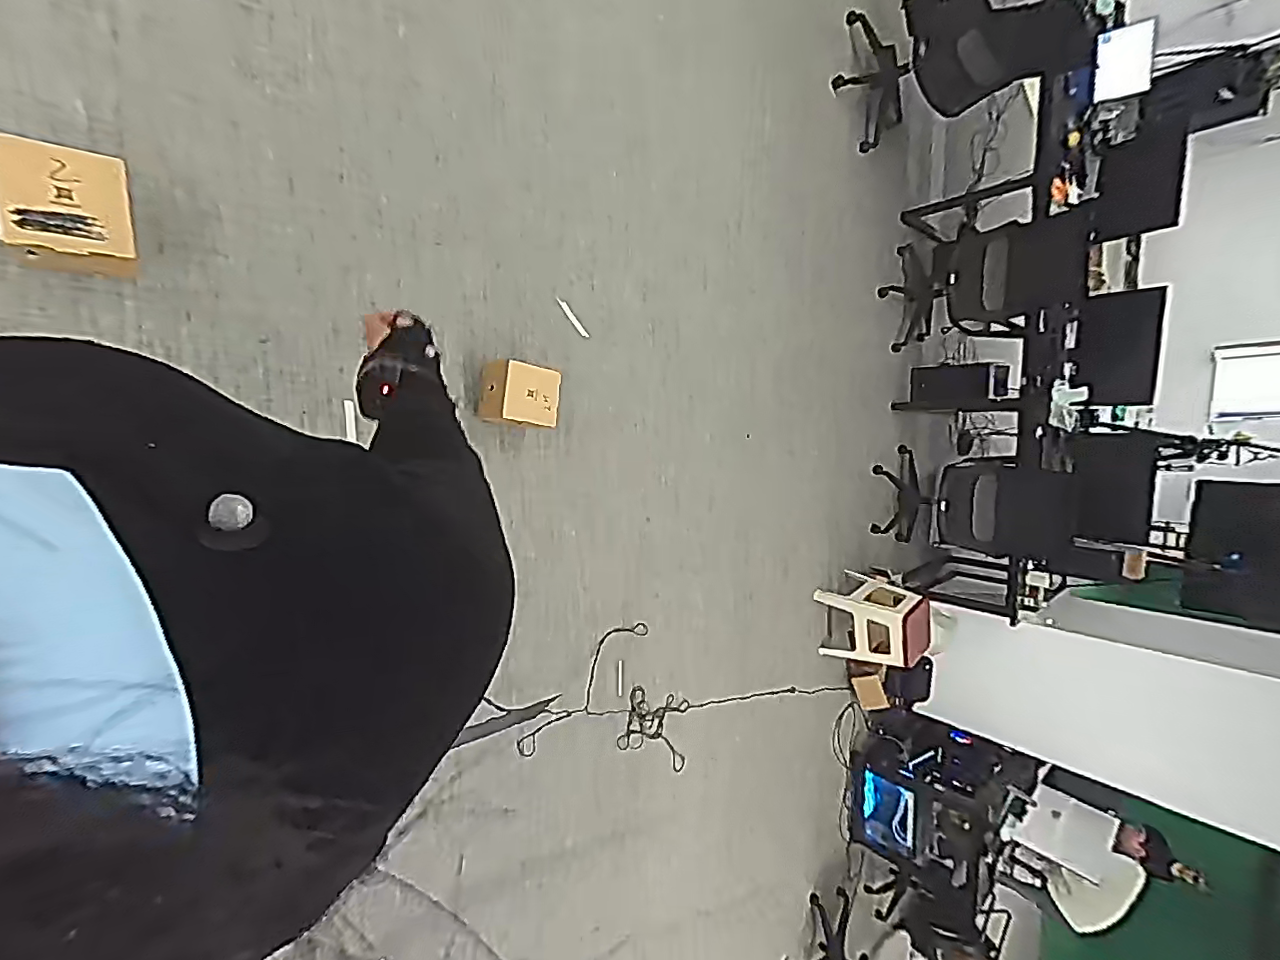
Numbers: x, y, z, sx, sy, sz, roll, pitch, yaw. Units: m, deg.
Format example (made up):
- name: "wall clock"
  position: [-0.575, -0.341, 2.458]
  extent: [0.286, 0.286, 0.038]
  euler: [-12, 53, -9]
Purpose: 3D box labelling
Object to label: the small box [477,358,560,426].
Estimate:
- name: "small box"
  position: [-0.364, -0.254, 1.599]
  extent: [0.179, 0.176, 0.168]
  euler: [8, 89, -42]
